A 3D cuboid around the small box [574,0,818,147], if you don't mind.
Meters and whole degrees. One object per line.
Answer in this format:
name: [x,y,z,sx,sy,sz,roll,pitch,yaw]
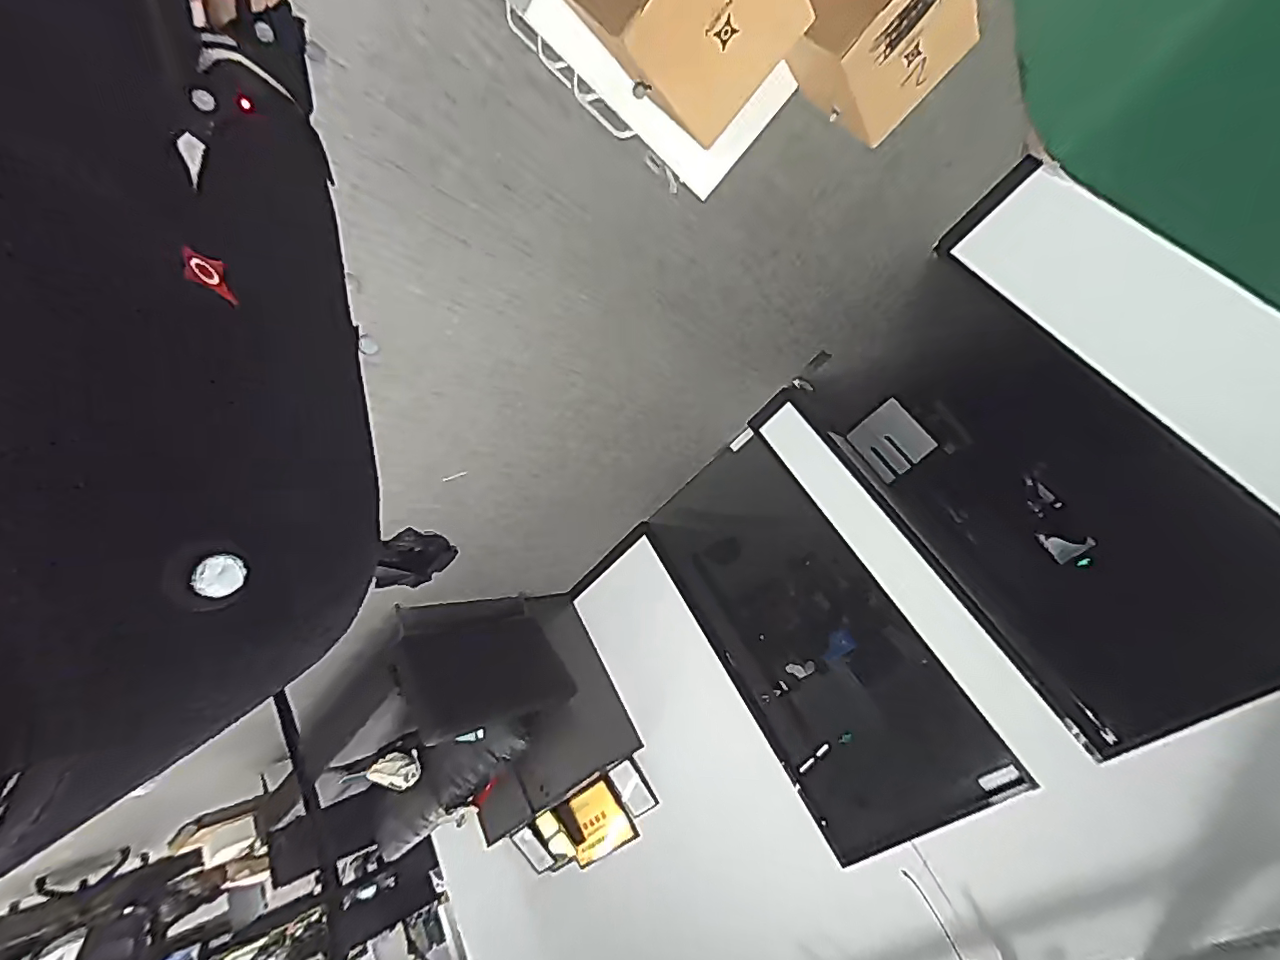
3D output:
small box: [0.049,-0.510,0.568,0.168,0.176,0.179,-44,152,24]
